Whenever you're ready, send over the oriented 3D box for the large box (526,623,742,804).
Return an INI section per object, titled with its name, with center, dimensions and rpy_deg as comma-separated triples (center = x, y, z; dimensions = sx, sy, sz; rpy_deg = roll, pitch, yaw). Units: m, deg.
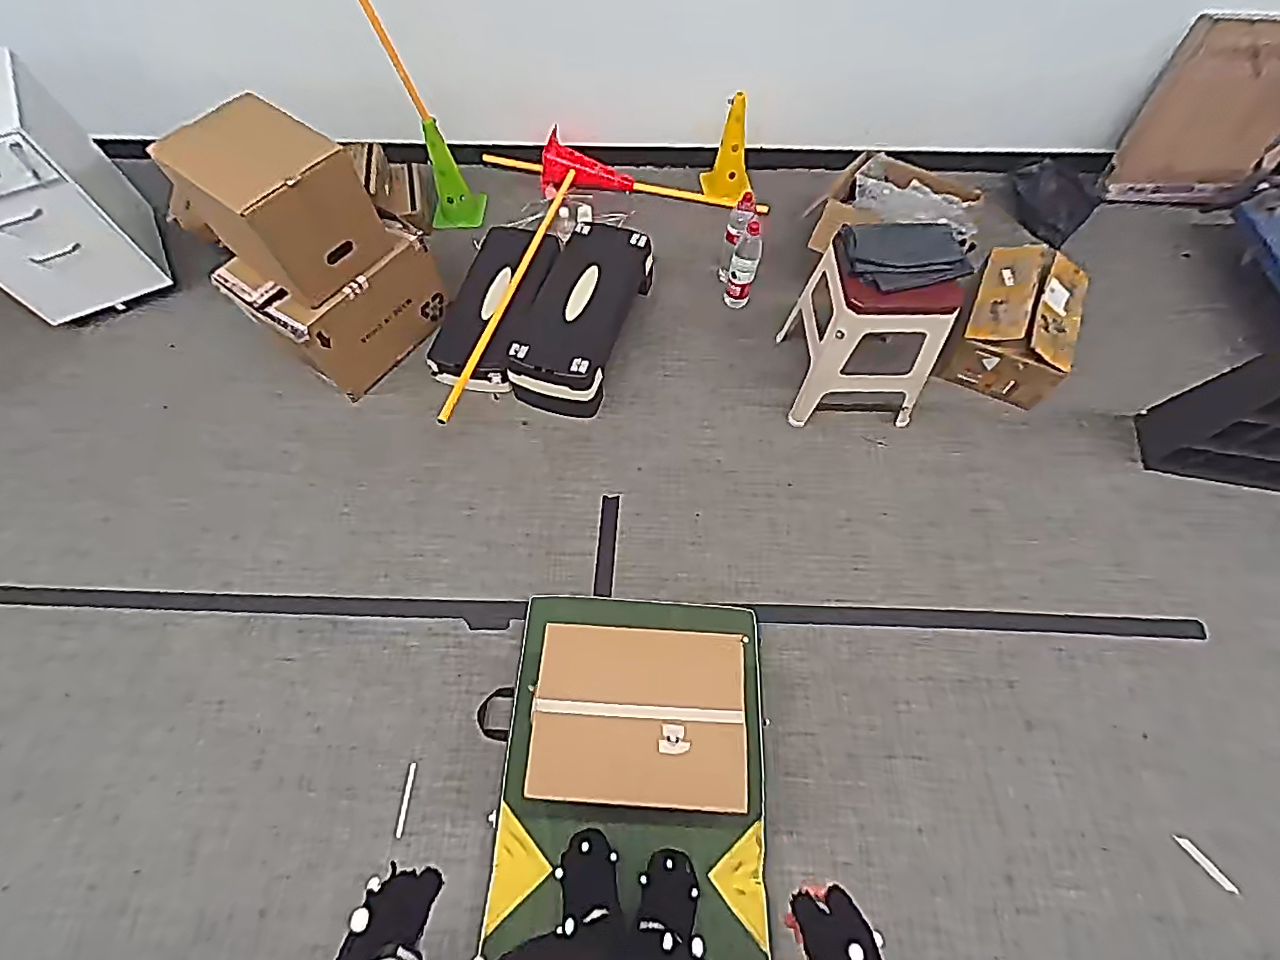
[large box]
center = -0.009, 0.513, 1.183
dimensions = 0.408, 0.320, 0.320
rpy_deg = 4, 63, 1
